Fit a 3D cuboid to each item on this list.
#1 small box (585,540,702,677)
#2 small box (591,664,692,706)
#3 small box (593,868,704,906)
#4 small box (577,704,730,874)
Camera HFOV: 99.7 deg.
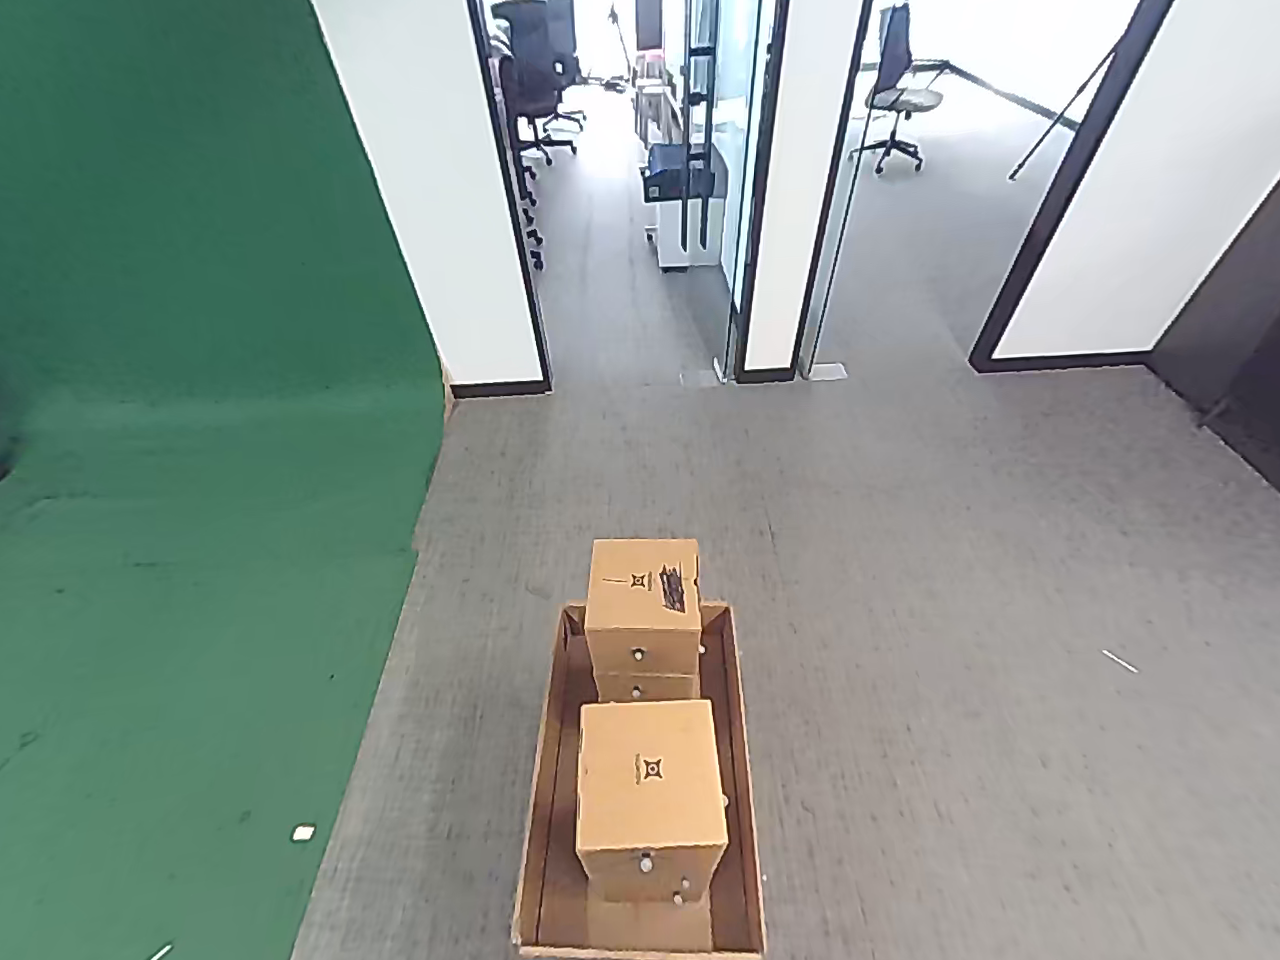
[{"bbox_3d":[0.009,0.219,0.910,0.179,0.176,0.168,1,48,3],"label":"small box"},{"bbox_3d":[0.010,0.331,1.031,0.179,0.176,0.168,1,48,3],"label":"small box"},{"bbox_3d":[0.013,0.640,0.958,0.179,0.176,0.168,0,45,0],"label":"small box"},{"bbox_3d":[0.014,0.414,0.723,0.179,0.176,0.168,-2,47,-1],"label":"small box"}]
